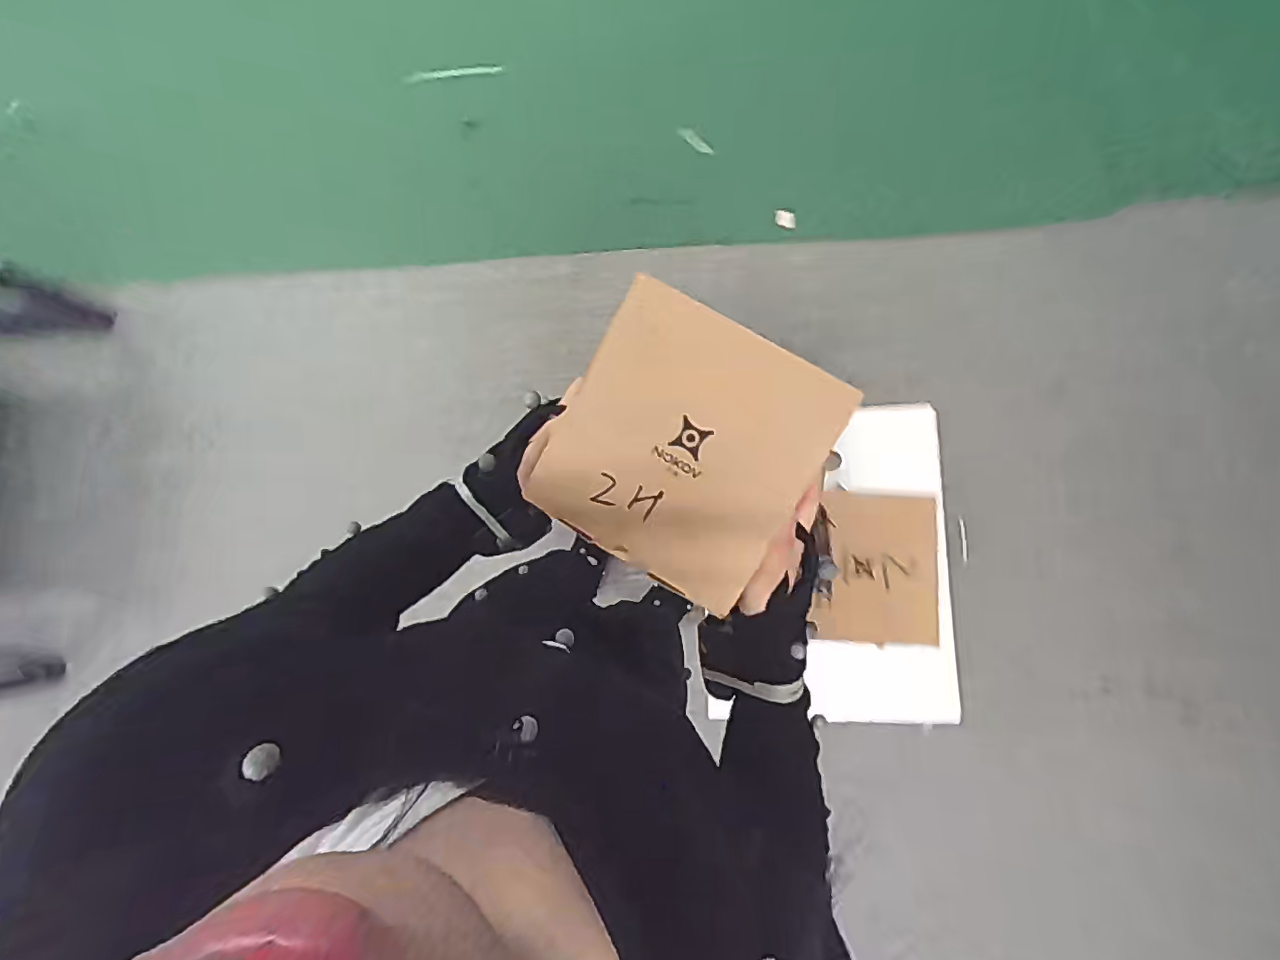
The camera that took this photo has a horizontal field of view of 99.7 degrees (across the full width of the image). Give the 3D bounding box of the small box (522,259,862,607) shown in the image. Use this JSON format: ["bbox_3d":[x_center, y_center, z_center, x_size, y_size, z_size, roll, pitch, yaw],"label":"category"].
[{"bbox_3d":[0.039,-0.036,0.430,0.168,0.176,0.179,30,99,5],"label":"small box"}]

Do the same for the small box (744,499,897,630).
[{"bbox_3d":[0.260,0.120,0.812,0.179,0.176,0.168,5,84,5],"label":"small box"}]
